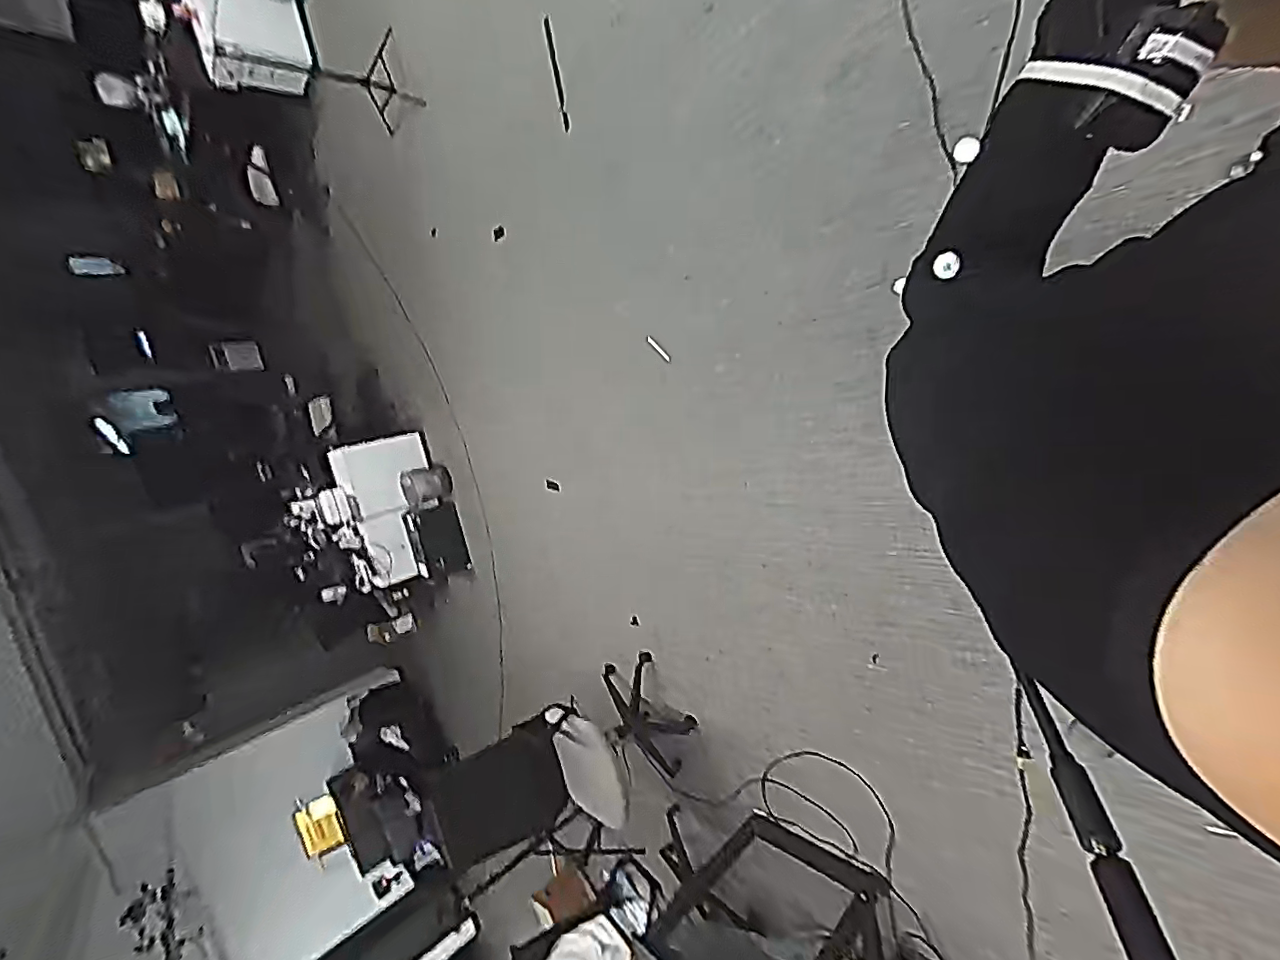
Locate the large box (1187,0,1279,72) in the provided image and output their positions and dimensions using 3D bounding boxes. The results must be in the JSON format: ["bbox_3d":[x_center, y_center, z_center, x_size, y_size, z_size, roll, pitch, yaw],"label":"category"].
[{"bbox_3d":[0.565,-0.401,0.222,0.408,0.320,0.320,27,125,35],"label":"large box"}]
